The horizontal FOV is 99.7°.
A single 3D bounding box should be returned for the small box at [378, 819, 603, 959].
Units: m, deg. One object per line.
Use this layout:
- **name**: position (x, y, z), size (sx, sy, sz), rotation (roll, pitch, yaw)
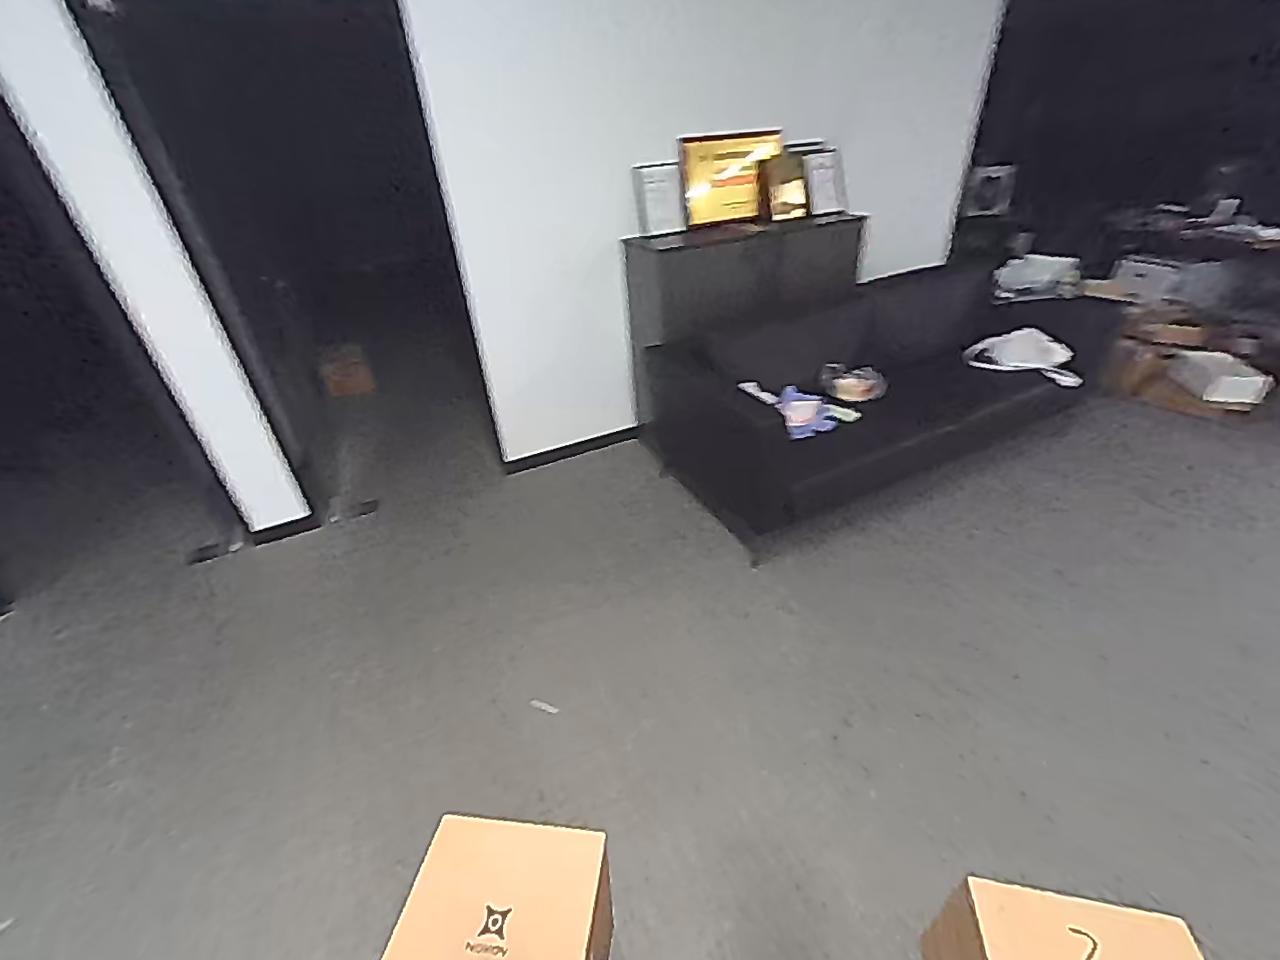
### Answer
- **small box**: position (-0.127, 0.448, 0.486), size (0.168, 0.176, 0.179), rotation (3, 29, 5)
